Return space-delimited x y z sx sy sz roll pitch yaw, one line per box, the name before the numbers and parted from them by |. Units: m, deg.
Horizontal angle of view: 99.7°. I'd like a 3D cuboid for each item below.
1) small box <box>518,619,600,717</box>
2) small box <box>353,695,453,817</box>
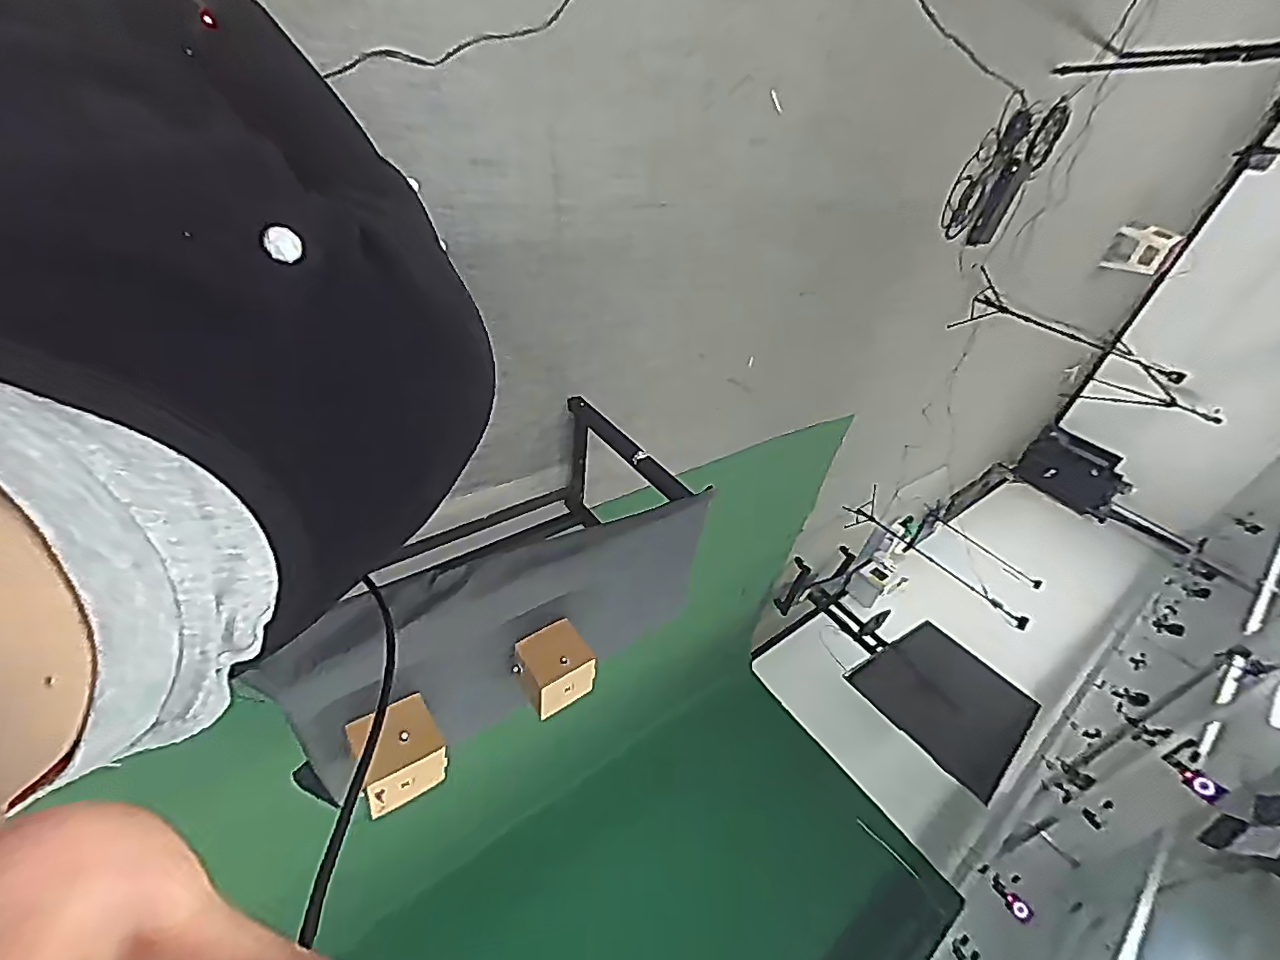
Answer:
small box | -0.236 0.535 1.563 0.179 0.176 0.168 -21 136 -31
small box | -0.577 0.663 1.321 0.179 0.176 0.168 -17 135 -37
